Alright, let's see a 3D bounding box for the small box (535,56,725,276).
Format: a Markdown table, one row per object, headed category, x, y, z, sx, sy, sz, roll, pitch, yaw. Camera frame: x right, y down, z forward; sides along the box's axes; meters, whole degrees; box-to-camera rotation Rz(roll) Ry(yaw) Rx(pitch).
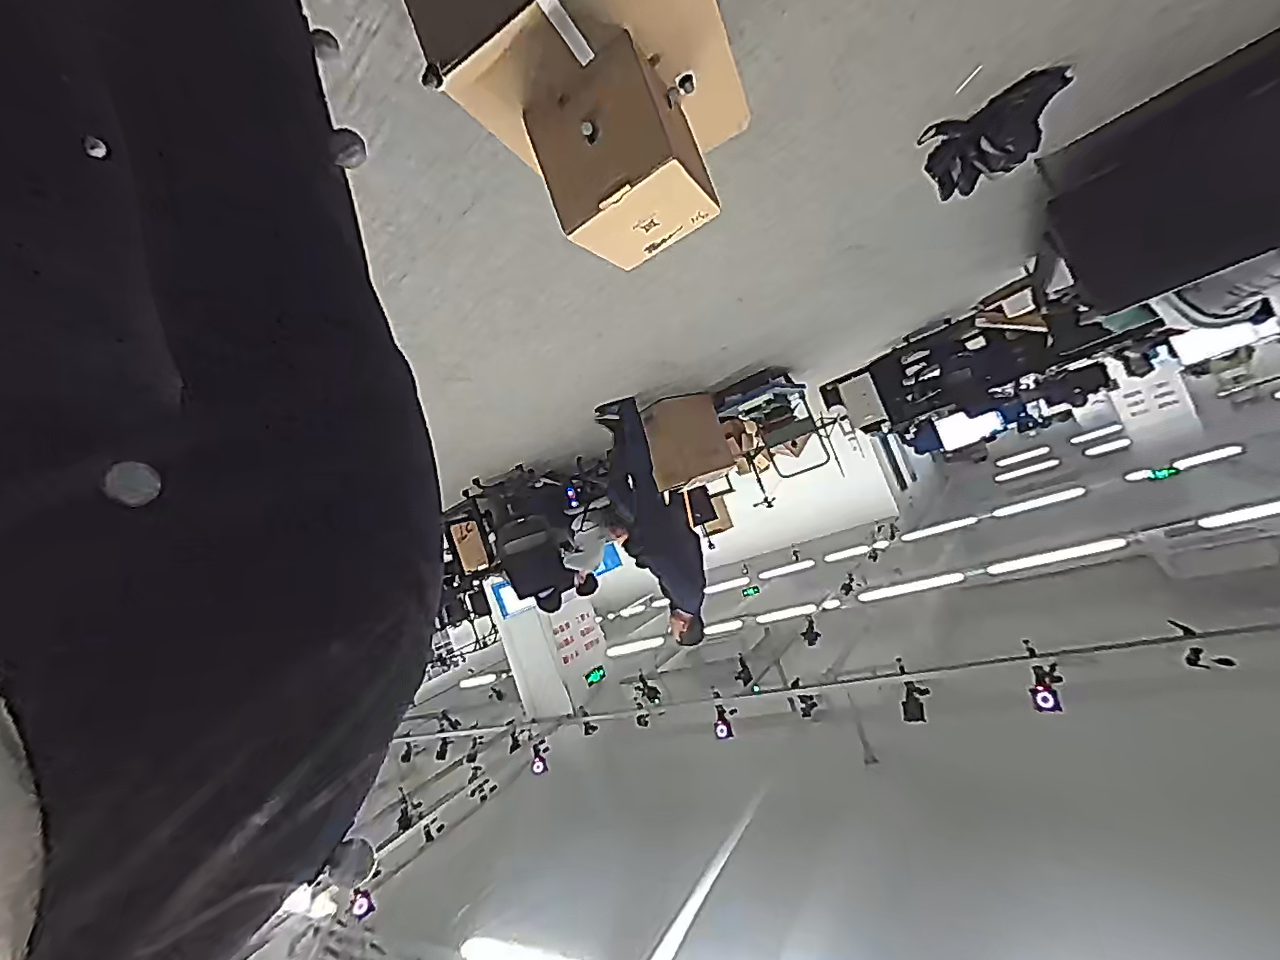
| category | x | y | z | sx | sy | sz | roll | pitch | yaw |
| --- | --- | --- | --- | --- | --- | --- | --- | --- | --- |
| small box | -0.013 | -0.411 | 0.725 | 0.168 | 0.176 | 0.179 | -23 | 174 | 27 |
